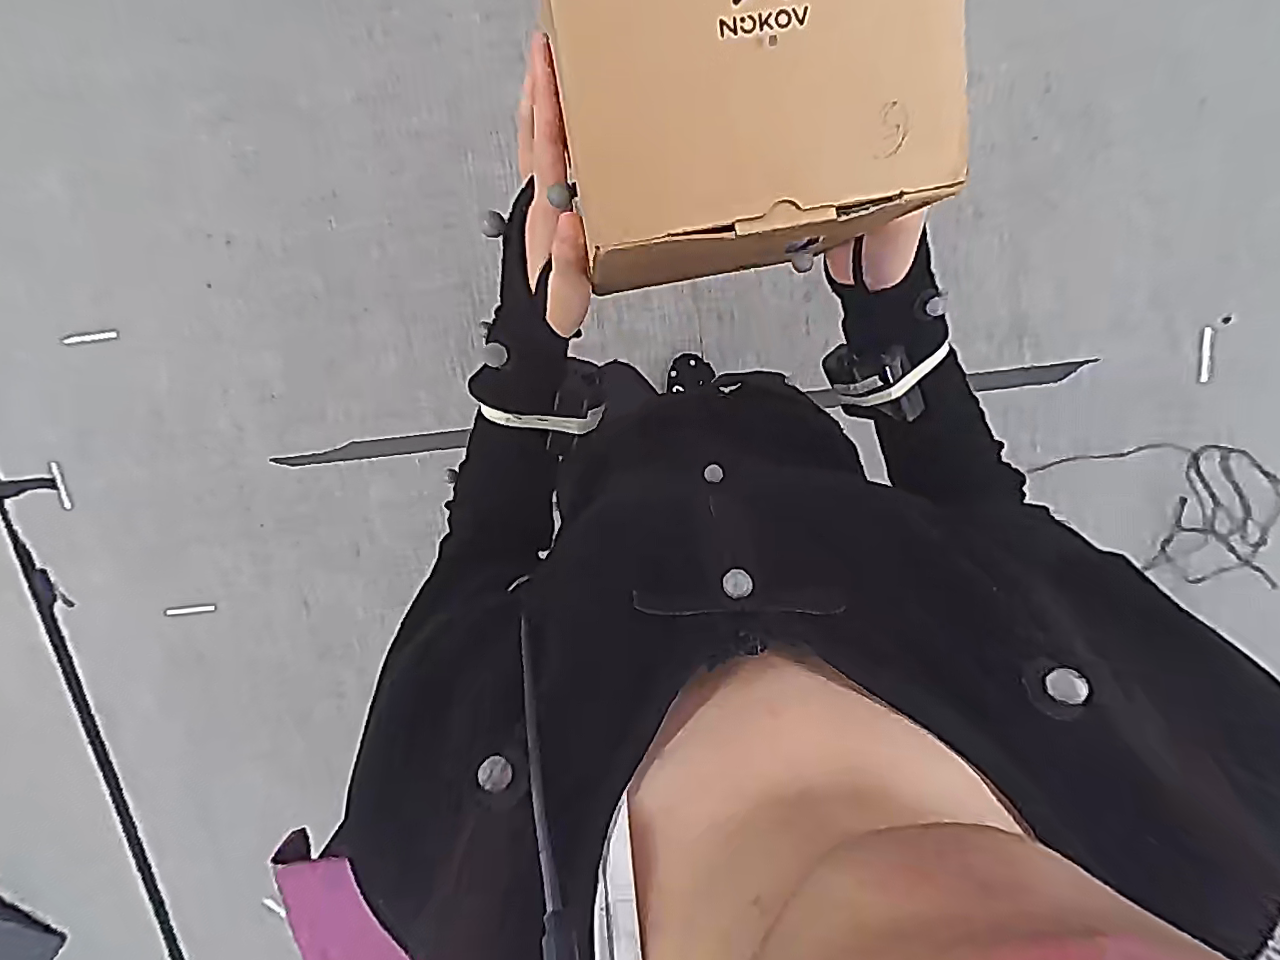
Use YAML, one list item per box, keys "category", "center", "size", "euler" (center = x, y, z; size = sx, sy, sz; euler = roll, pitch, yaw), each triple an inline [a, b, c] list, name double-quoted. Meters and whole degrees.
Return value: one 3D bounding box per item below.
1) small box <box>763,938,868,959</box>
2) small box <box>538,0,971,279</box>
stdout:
- category: "small box"
  center: [0.288, 0.846, 0.827]
  size: [0.168, 0.176, 0.179]
  euler: [-6, 102, 3]
- category: "small box"
  center: [0.039, -0.213, 0.285]
  size: [0.168, 0.176, 0.179]
  euler: [-12, 103, -4]
